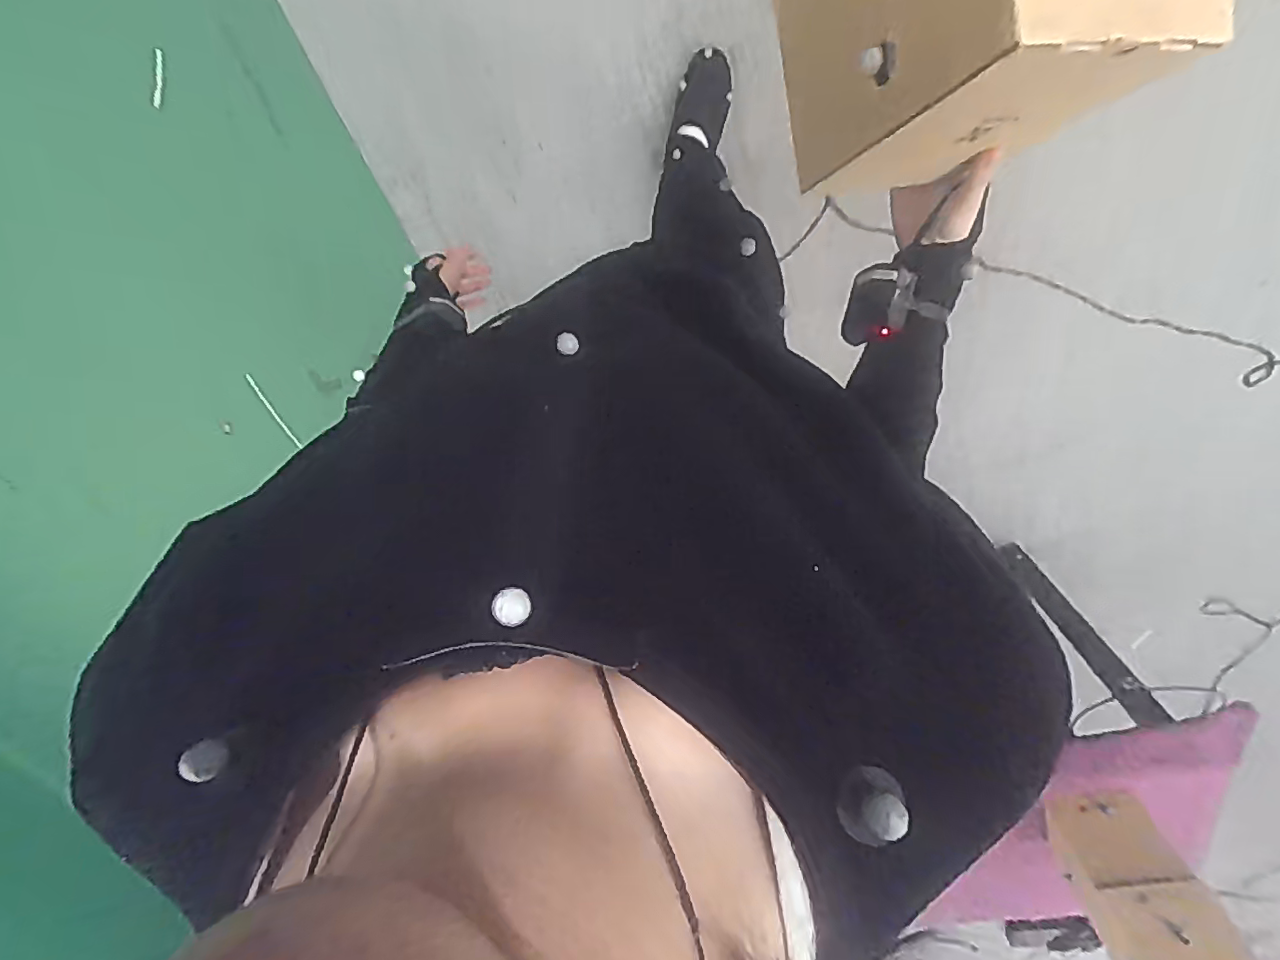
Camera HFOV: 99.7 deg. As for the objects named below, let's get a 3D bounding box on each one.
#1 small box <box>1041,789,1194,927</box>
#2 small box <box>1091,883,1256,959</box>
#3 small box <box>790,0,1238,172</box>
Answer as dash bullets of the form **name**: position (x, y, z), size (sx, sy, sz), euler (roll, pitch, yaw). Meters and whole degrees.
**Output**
- **small box**: position (0.944, 0.758, 1.088), size (0.168, 0.176, 0.179), euler (-18, 118, 13)
- **small box**: position (0.932, 0.833, 0.943), size (0.168, 0.176, 0.179), euler (-16, 118, 12)
- **small box**: position (0.209, -0.319, 0.334), size (0.168, 0.179, 0.176), euler (-14, 99, -17)
